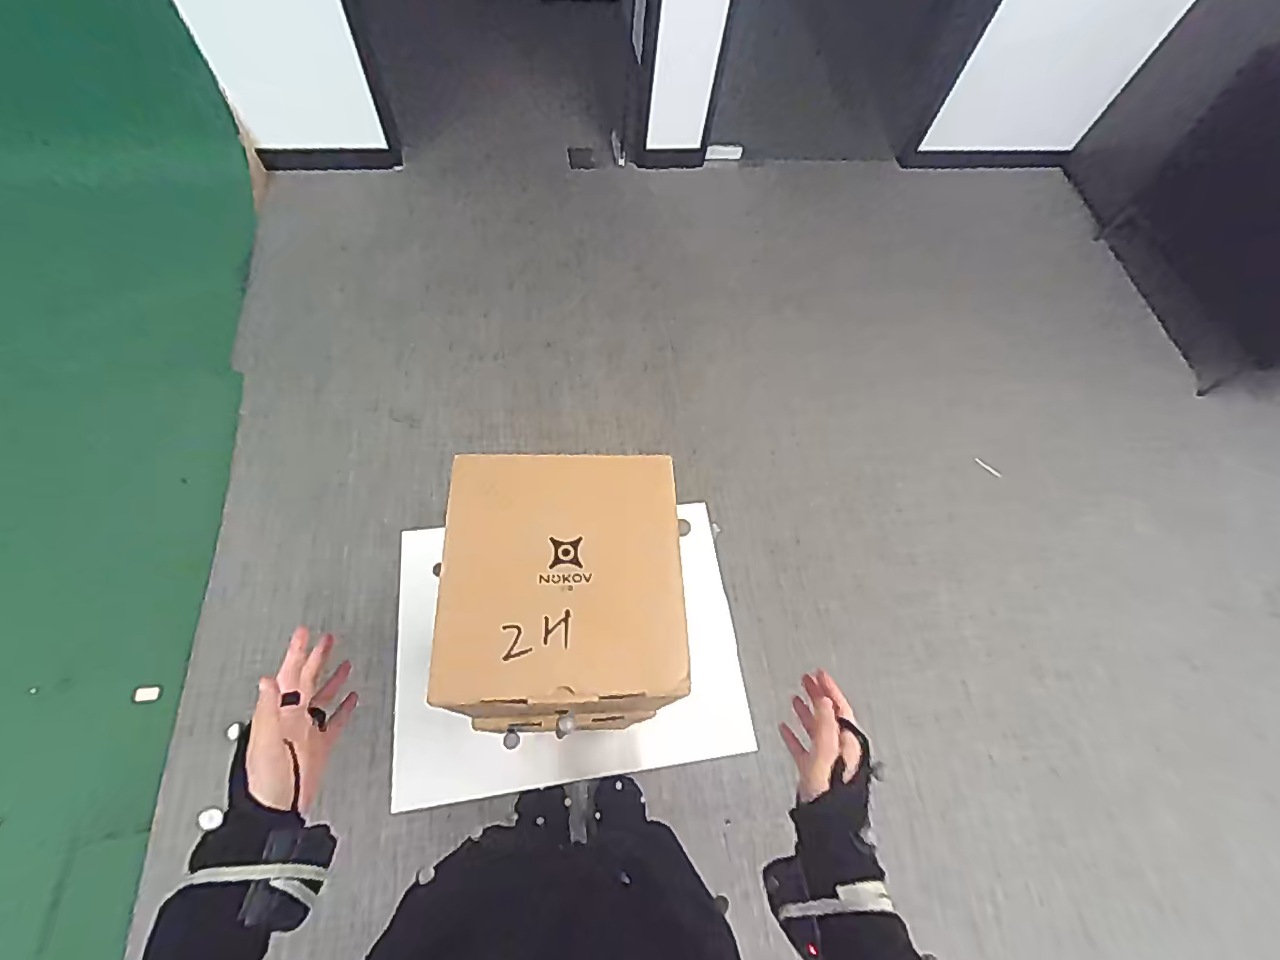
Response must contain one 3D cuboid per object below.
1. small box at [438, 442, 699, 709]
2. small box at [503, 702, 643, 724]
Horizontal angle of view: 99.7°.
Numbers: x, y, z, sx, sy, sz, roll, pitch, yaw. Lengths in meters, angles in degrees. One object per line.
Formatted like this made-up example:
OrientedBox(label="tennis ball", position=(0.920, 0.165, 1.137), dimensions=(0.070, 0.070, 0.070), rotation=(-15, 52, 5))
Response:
OrientedBox(label="small box", position=(-0.054, 0.085, 0.444), dimensions=(0.168, 0.176, 0.179), rotation=(-1, 64, -6))
OrientedBox(label="small box", position=(-0.088, 0.232, 0.736), dimensions=(0.168, 0.176, 0.179), rotation=(0, 64, -6))
